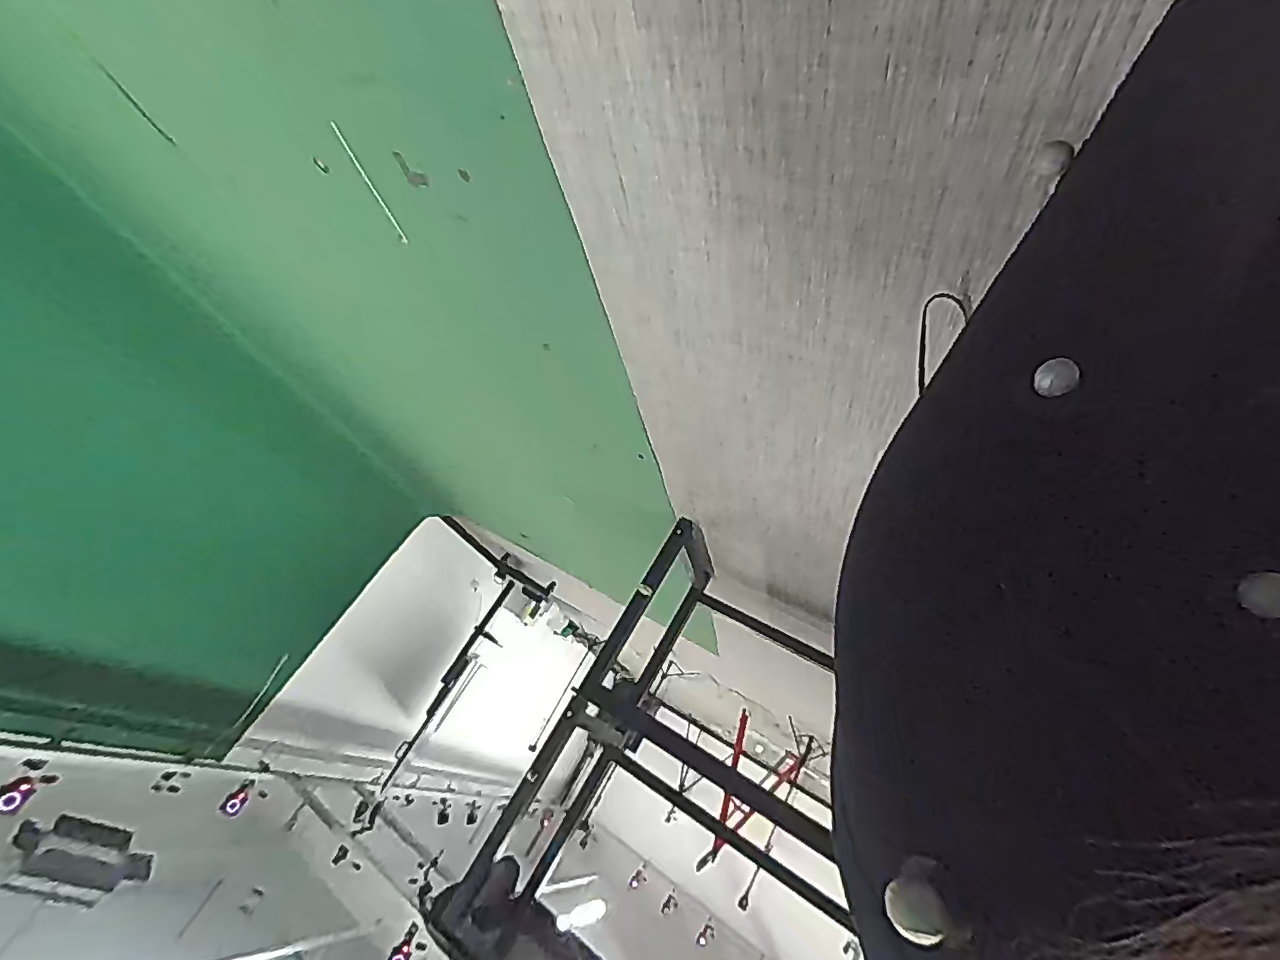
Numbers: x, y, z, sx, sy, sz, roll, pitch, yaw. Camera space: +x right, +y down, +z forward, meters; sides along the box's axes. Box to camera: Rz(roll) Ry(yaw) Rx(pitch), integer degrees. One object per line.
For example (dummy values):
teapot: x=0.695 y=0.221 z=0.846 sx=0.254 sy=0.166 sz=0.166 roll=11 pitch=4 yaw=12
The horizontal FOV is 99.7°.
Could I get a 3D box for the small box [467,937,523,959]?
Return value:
small box: x=-0.437 y=1.479 z=1.568 sx=0.168 sy=0.176 sz=0.179 roll=24 pitch=156 yaw=23
